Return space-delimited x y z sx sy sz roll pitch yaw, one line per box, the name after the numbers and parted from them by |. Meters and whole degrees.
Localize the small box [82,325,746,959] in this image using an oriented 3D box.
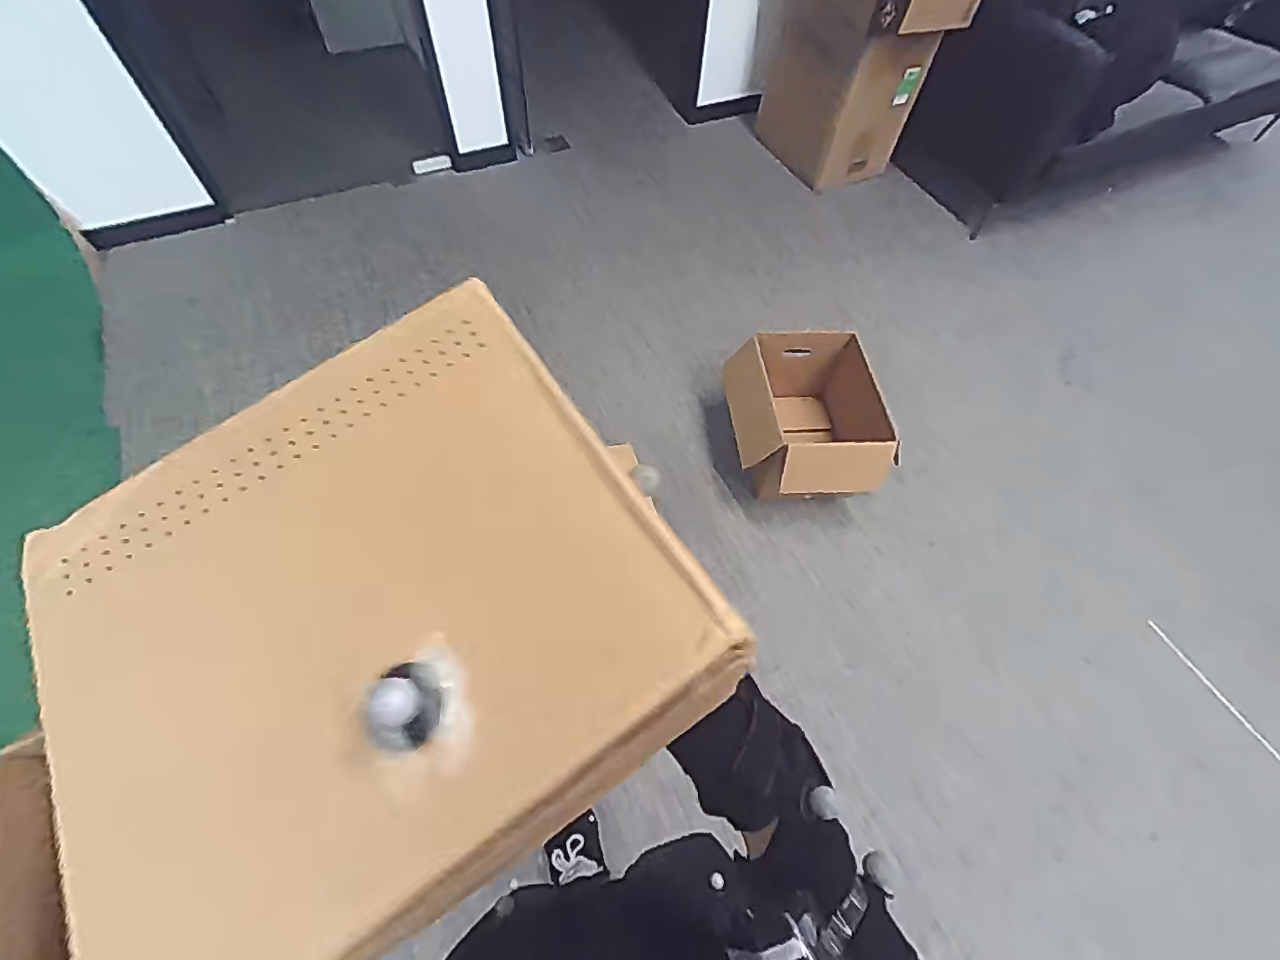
-0.079 0.068 0.238 0.179 0.168 0.176 -34 65 -10 | small box
